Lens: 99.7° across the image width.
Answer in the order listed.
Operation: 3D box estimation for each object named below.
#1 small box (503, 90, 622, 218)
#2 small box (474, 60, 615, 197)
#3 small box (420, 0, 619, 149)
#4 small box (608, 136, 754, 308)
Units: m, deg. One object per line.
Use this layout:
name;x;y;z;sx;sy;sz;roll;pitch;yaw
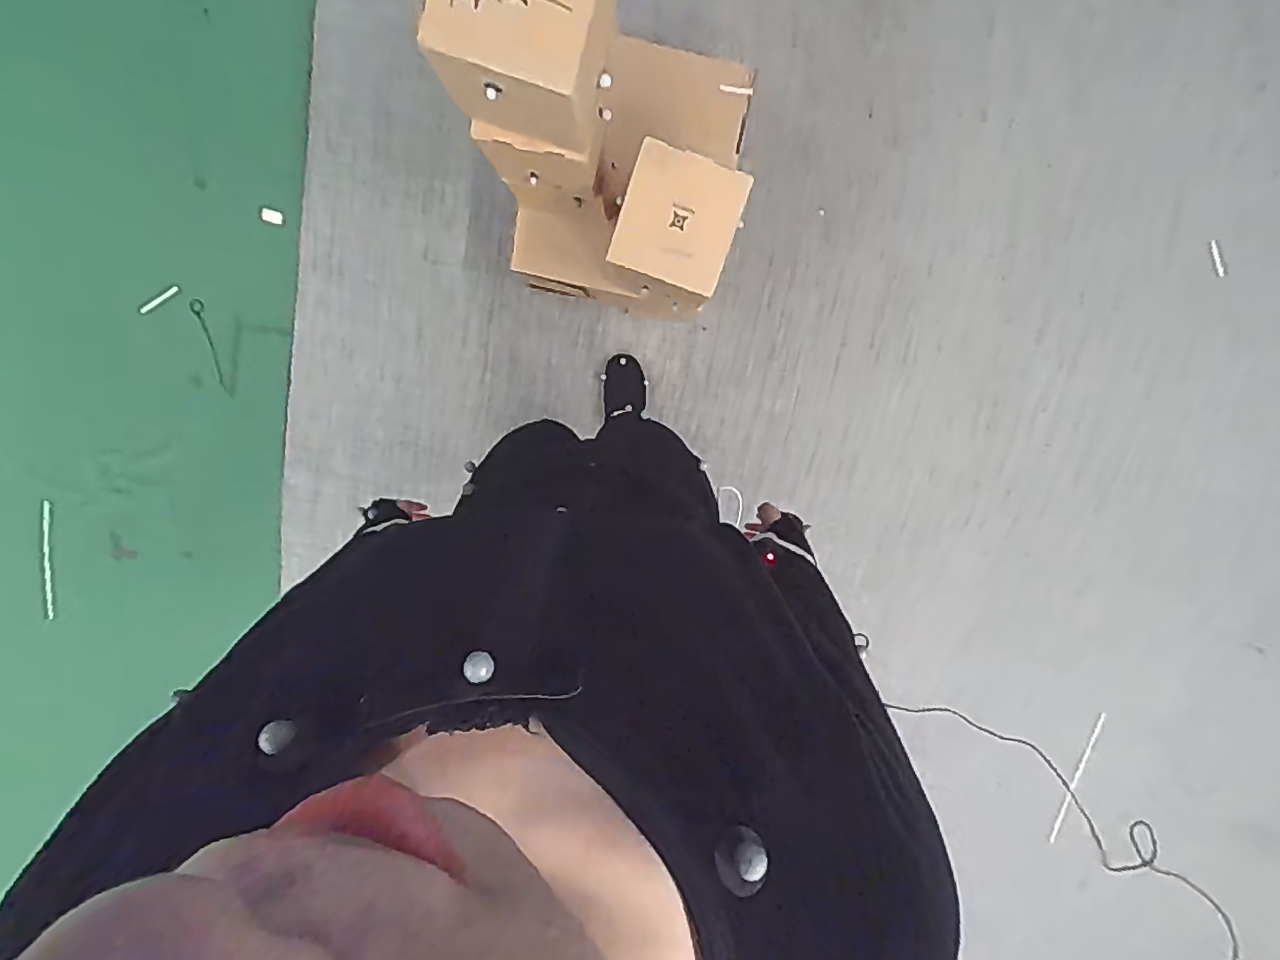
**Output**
small box;-0.131;-0.589;0.972;0.179;0.176;0.168;10;100;-2
small box;-0.134;-0.557;0.812;0.168;0.176;0.179;12;102;-3
small box;-0.131;-0.533;0.649;0.179;0.176;0.168;17;101;-4
small box;0.055;-0.387;0.847;0.168;0.176;0.179;19;101;-5
